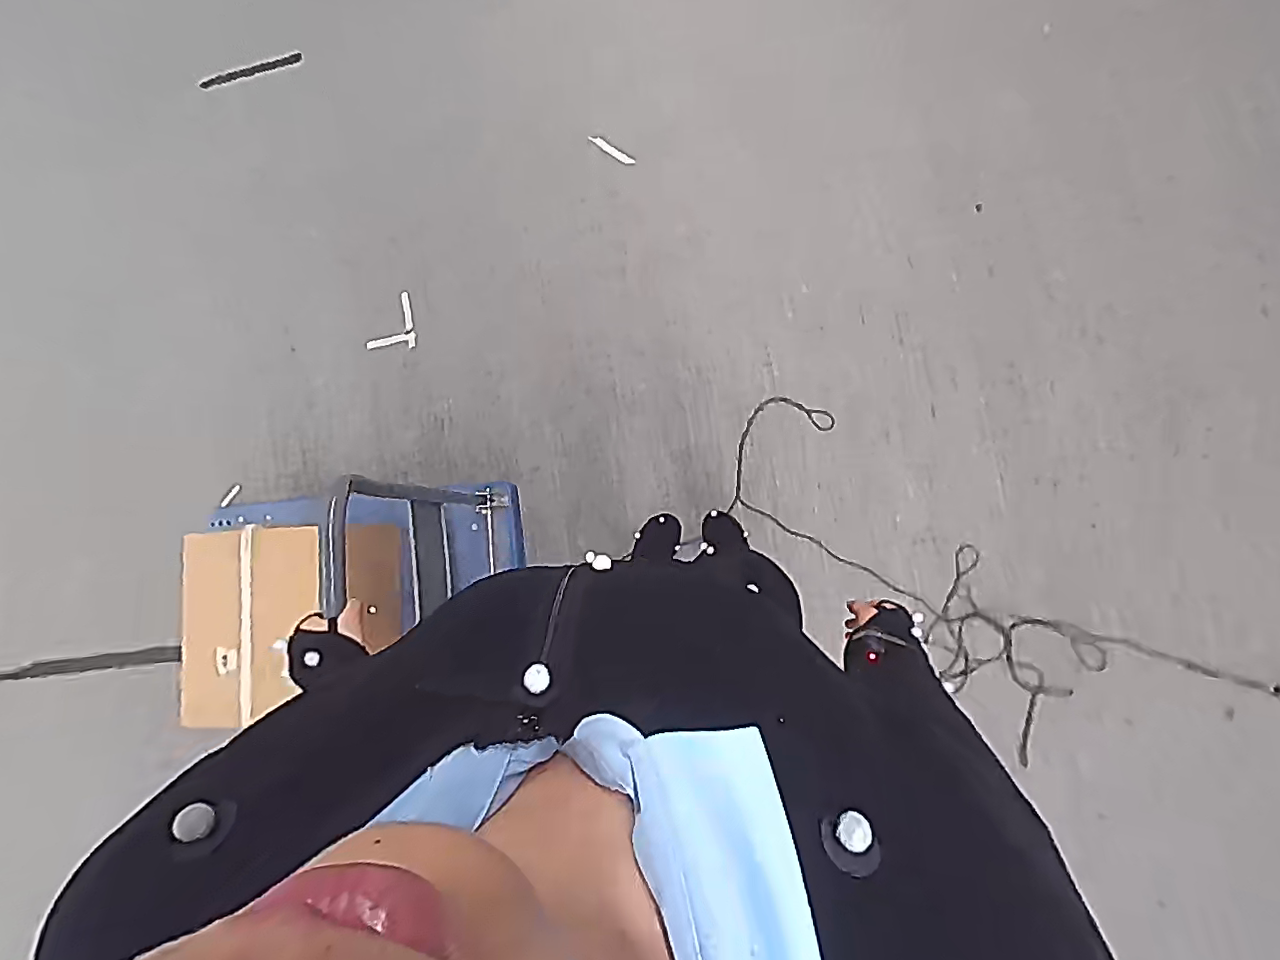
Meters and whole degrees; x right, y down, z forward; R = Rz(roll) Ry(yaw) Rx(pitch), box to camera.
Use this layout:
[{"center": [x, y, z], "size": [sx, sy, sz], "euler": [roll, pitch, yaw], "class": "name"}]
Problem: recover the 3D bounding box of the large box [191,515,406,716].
[{"center": [-0.780, 0.294, 1.274], "size": [0.320, 0.320, 0.408], "euler": [-3, 86, 7], "class": "large box"}]
